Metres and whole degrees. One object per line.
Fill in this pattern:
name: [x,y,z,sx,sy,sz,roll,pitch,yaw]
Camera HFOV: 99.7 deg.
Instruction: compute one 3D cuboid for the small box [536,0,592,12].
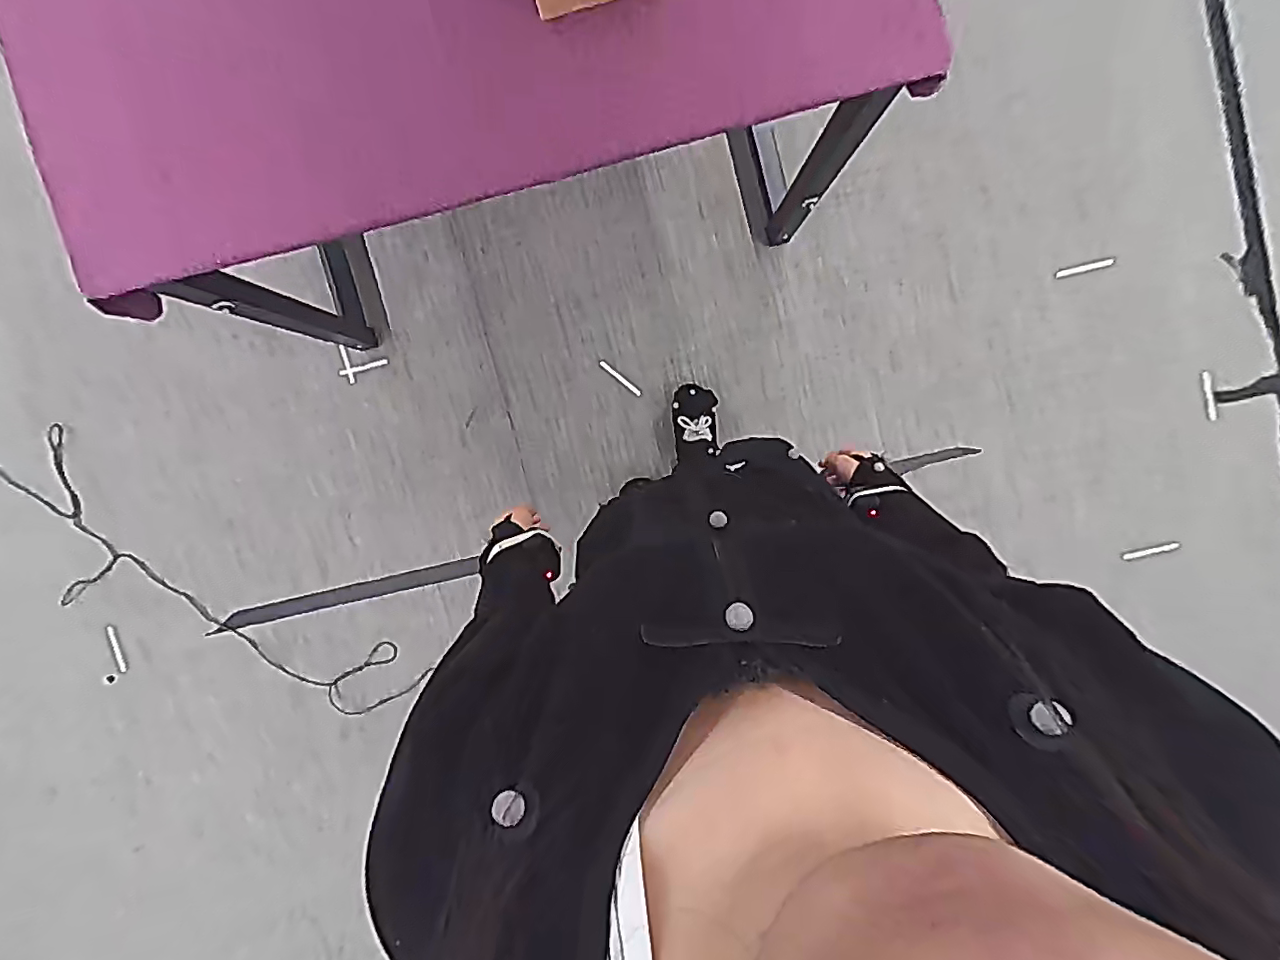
small box: [-0.066,-0.700,0.619,0.179,0.176,0.168,-15,94,2]
